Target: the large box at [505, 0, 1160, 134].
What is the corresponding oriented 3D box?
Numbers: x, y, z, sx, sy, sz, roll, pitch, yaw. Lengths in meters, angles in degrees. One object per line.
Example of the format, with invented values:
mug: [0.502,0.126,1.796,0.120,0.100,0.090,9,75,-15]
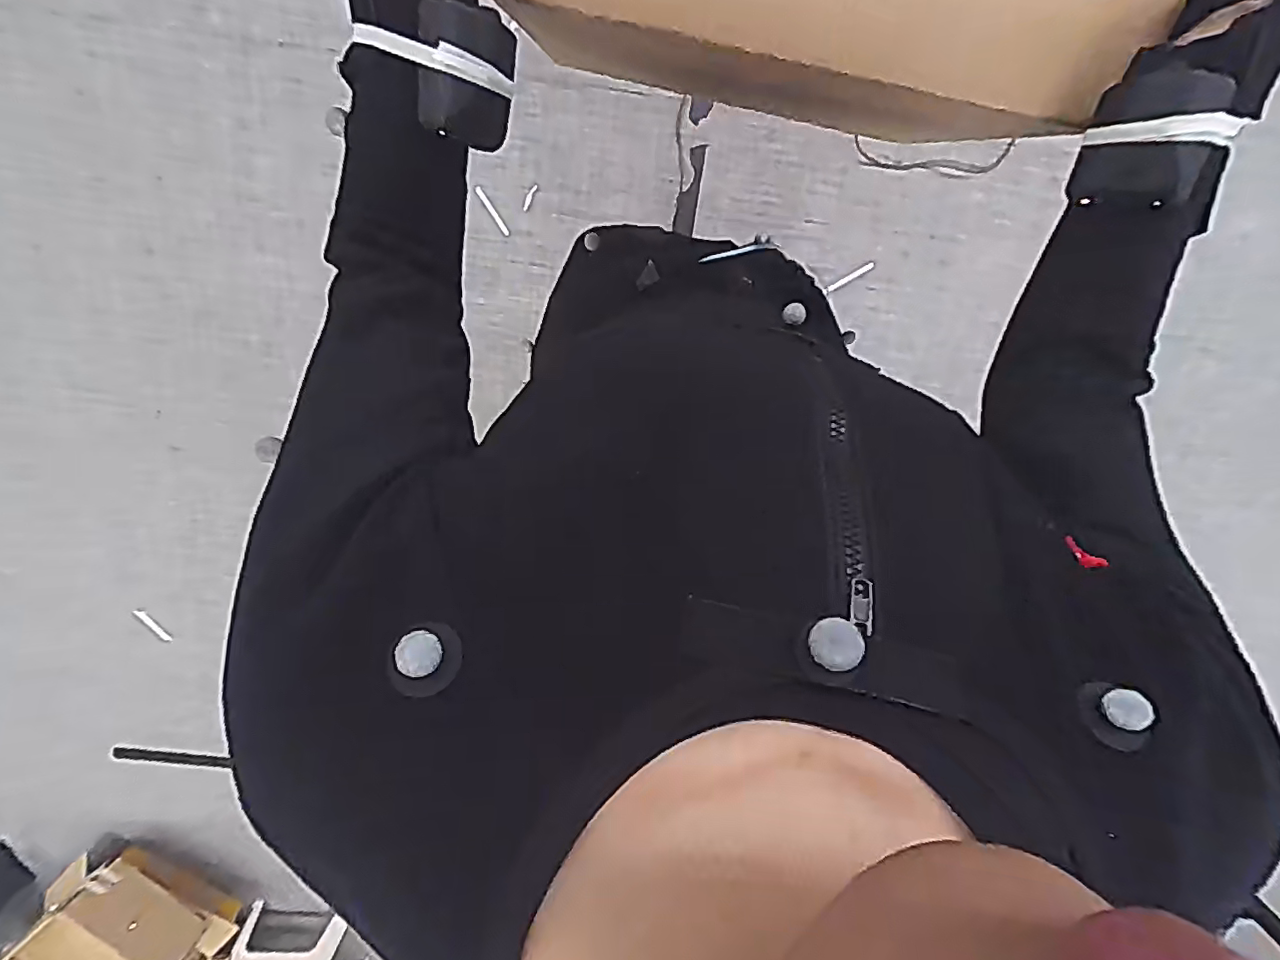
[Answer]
large box: [0.128,-0.466,0.386,0.408,0.320,0.320,8,122,-6]
